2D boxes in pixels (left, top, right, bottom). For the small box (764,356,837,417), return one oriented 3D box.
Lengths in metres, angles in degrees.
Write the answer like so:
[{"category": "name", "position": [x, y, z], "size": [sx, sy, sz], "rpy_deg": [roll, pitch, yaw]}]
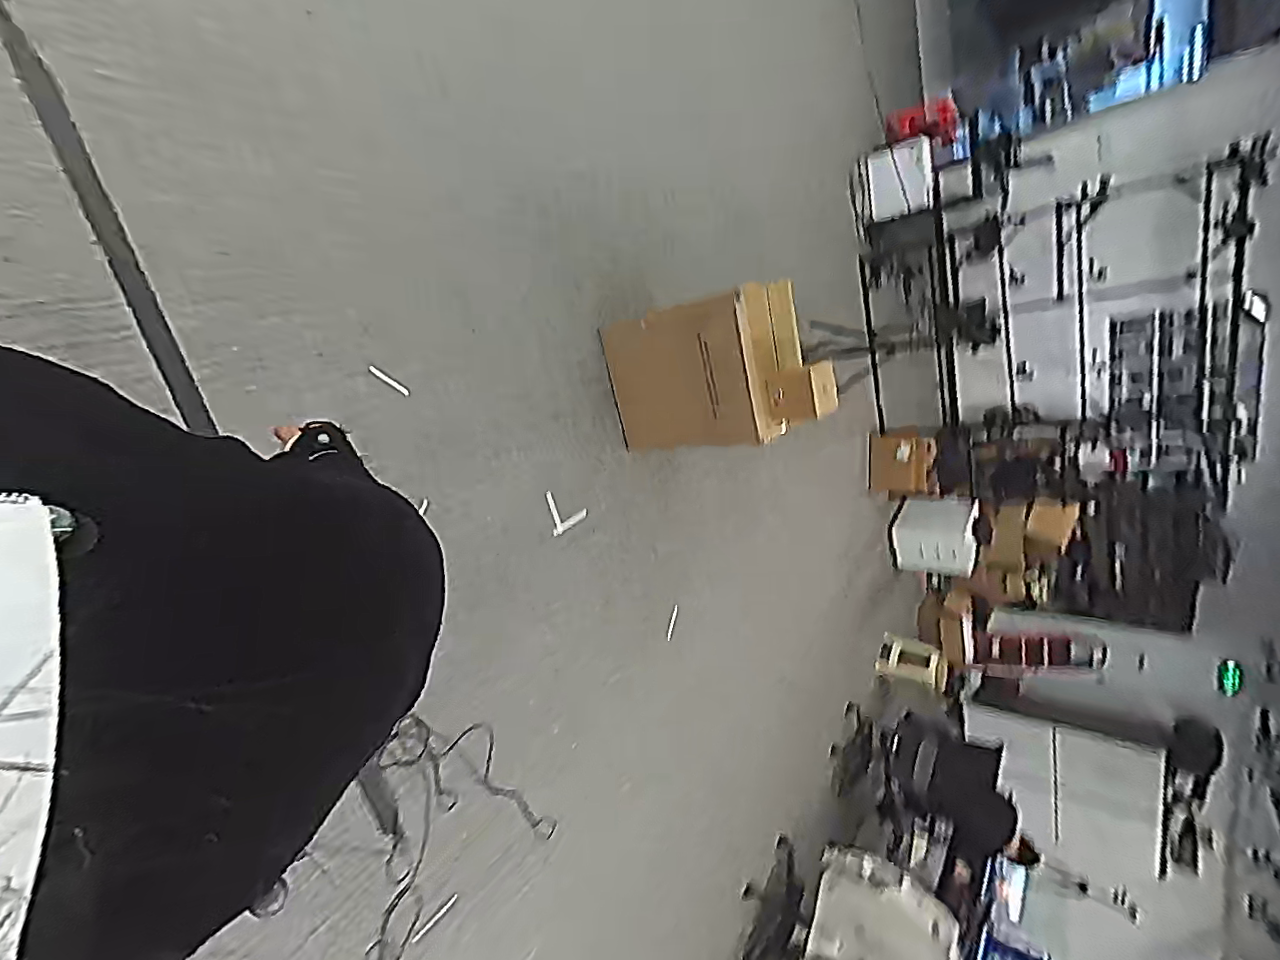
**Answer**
[{"category": "small box", "position": [0.550, -0.320, 1.854], "size": [0.179, 0.176, 0.168], "rpy_deg": [-28, 109, -42]}]
